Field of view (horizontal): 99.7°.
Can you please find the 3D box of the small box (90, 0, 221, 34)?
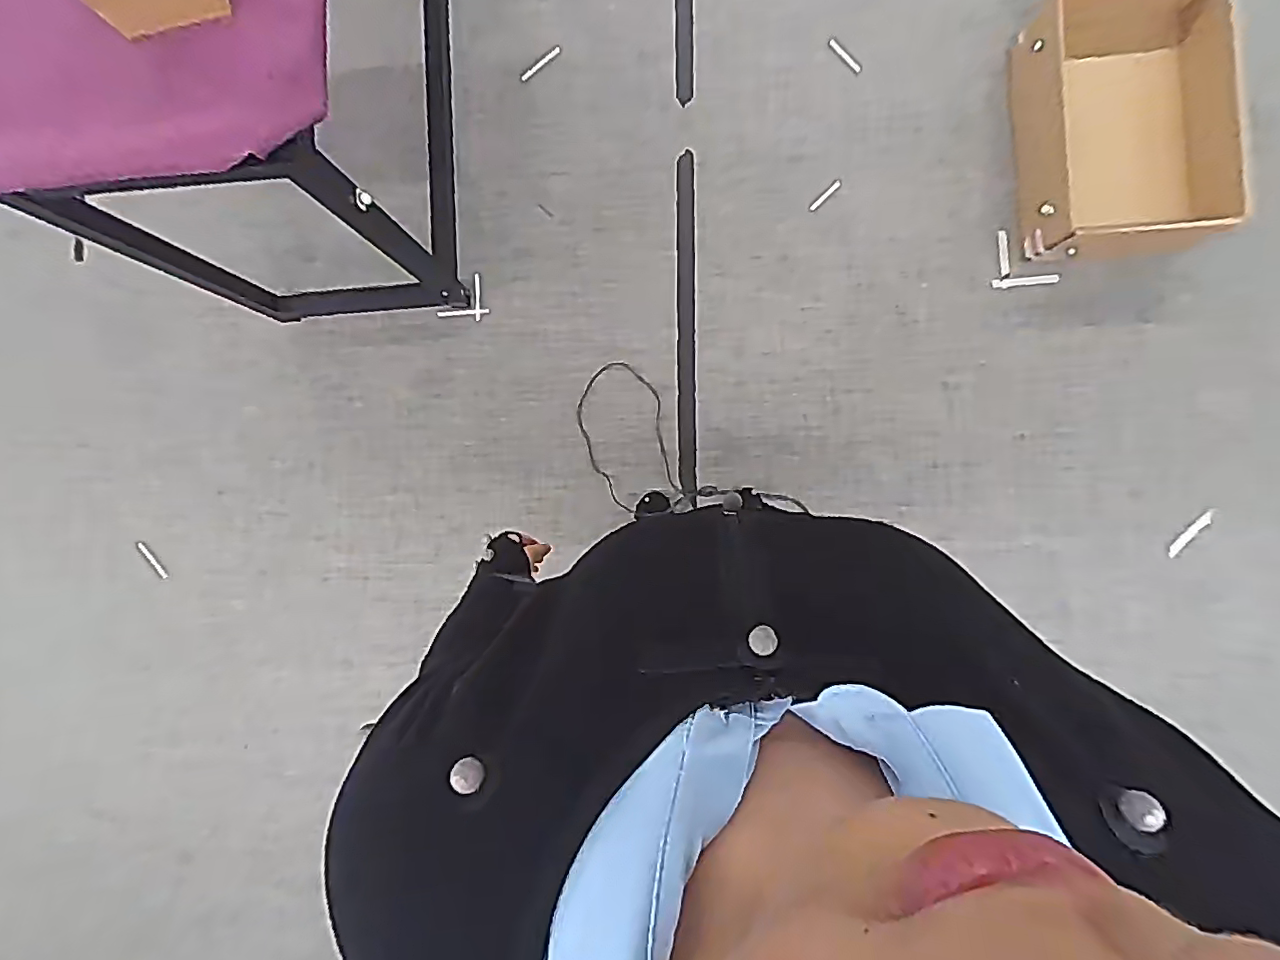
[{"bbox_3d":[-0.740,-0.798,0.774,0.179,0.176,0.168,-10,88,4],"label":"small box"}]
